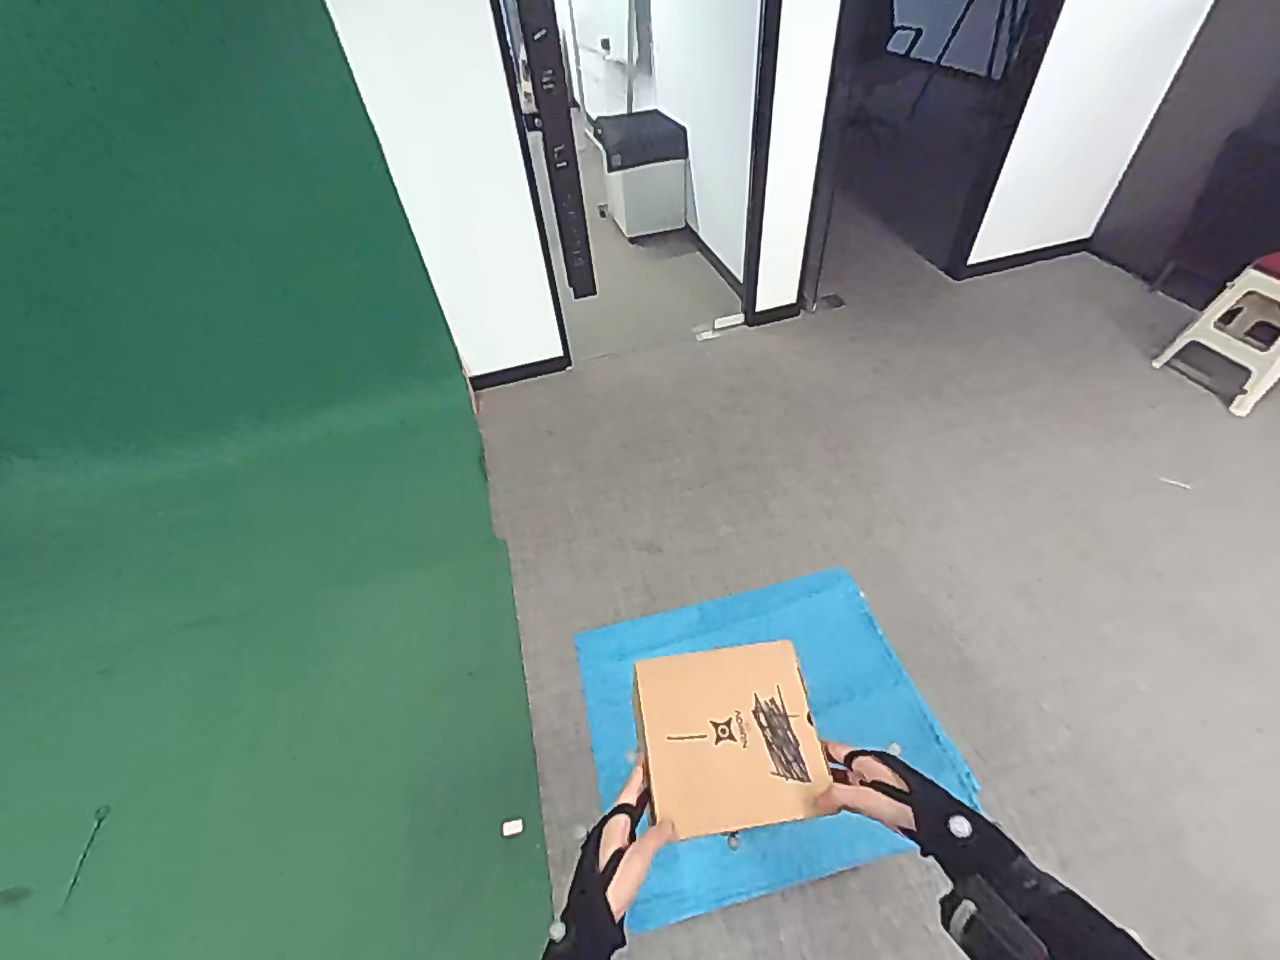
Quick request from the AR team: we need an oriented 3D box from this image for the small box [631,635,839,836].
[{"bbox_3d":[0.087,0.287,0.601,0.179,0.176,0.168,-6,56,-6],"label":"small box"}]
